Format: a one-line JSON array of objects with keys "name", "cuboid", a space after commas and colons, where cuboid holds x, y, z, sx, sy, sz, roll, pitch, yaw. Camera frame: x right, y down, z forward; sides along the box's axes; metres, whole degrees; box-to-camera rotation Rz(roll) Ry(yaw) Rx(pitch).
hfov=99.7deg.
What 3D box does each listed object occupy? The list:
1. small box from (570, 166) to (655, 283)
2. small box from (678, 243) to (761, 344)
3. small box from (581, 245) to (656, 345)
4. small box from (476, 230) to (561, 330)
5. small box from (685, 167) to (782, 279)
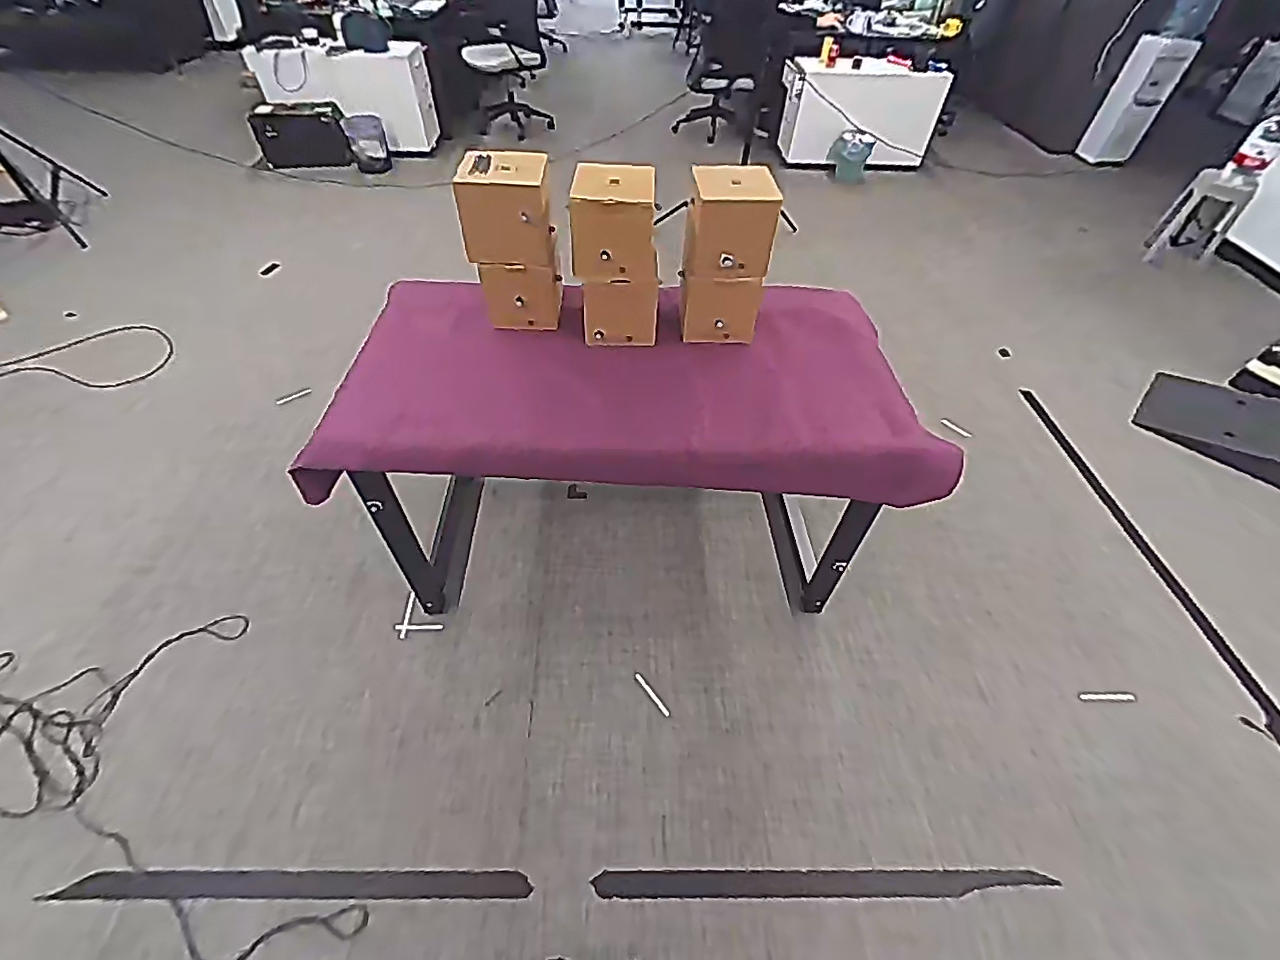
[{"name": "small box", "cuboid": [-0.056, -0.545, 1.155, 0.168, 0.176, 0.179, 2, 50, -1]}, {"name": "small box", "cuboid": [0.182, -0.448, 1.297, 0.168, 0.176, 0.179, 0, 50, -1]}, {"name": "small box", "cuboid": [-0.048, -0.434, 1.276, 0.168, 0.176, 0.179, 0, 49, -2]}, {"name": "small box", "cuboid": [-0.282, -0.478, 1.302, 0.168, 0.176, 0.179, 1, 51, -2]}, {"name": "small box", "cuboid": [0.193, -0.558, 1.178, 0.168, 0.176, 0.179, -2, 50, -3]}]
